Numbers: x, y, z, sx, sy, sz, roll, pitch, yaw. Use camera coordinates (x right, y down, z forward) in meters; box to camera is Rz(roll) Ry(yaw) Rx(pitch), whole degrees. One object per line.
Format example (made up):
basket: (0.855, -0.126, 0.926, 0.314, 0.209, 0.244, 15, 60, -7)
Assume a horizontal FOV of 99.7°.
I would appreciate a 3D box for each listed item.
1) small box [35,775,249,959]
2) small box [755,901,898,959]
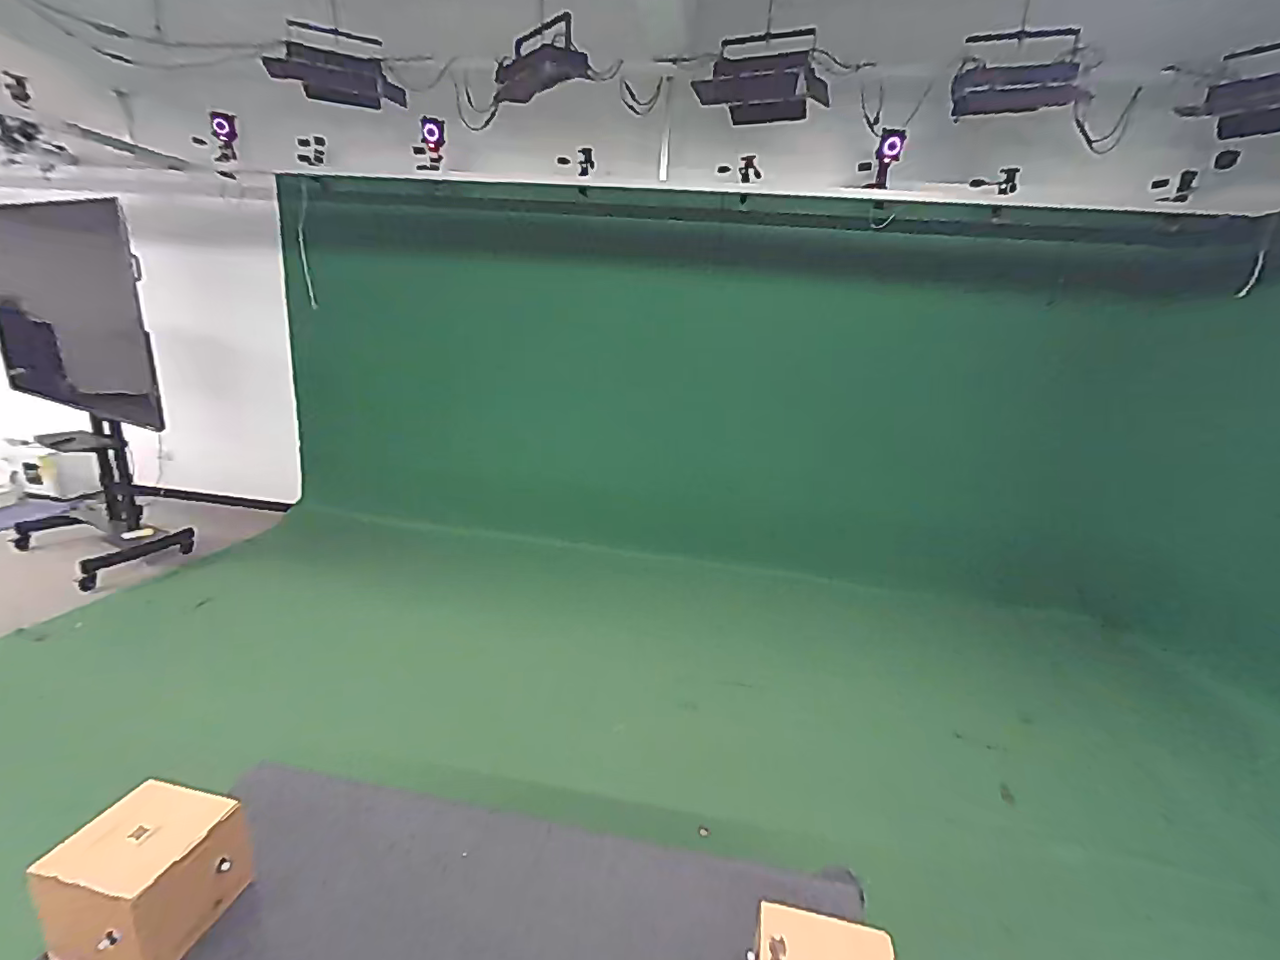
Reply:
small box: (-0.730, 0.591, 0.813, 0.179, 0.176, 0.168, 7, 13, 11)
small box: (0.236, 0.707, 0.698, 0.179, 0.176, 0.168, 7, 16, 12)
